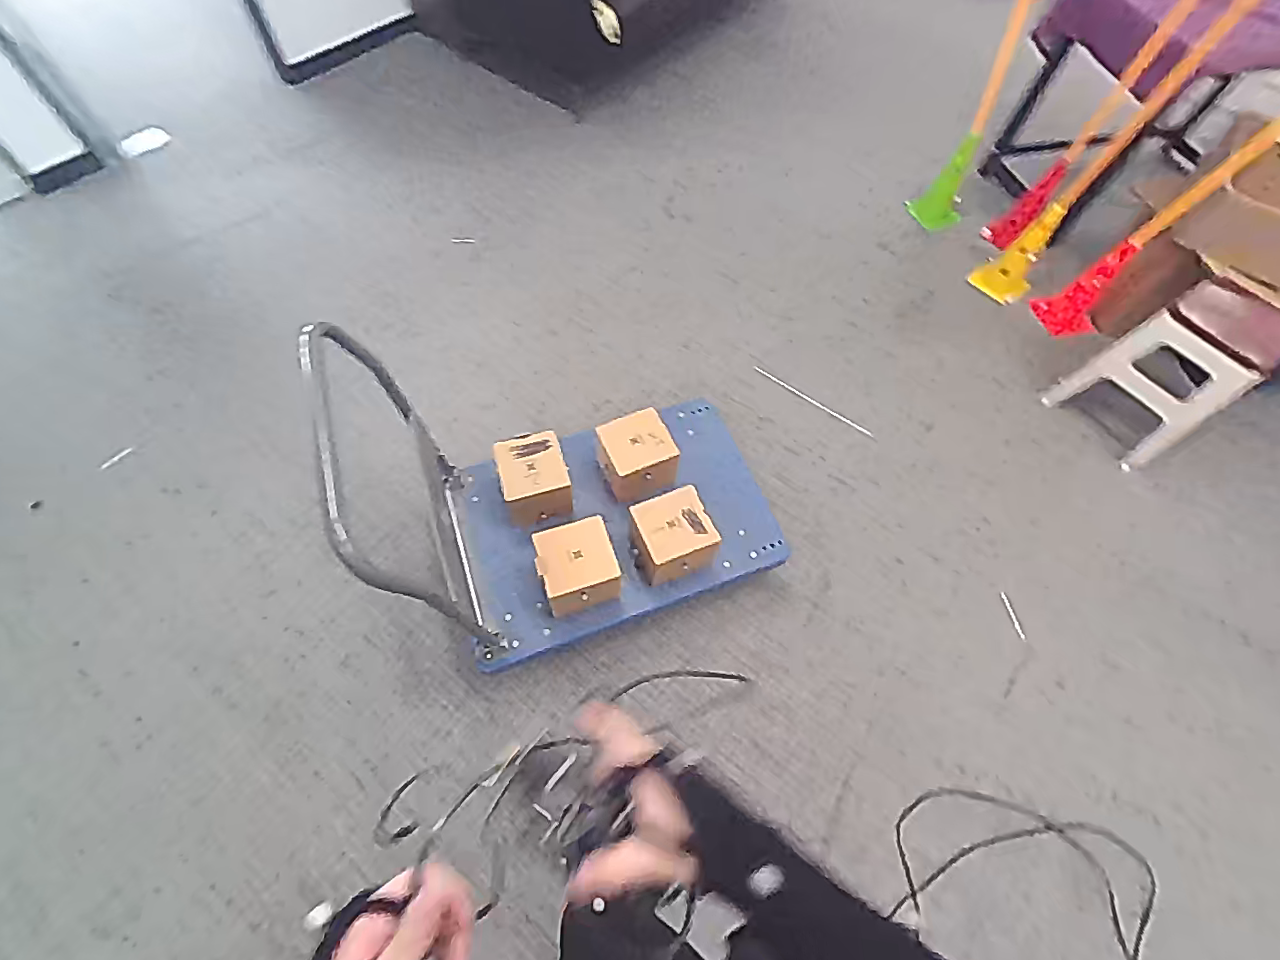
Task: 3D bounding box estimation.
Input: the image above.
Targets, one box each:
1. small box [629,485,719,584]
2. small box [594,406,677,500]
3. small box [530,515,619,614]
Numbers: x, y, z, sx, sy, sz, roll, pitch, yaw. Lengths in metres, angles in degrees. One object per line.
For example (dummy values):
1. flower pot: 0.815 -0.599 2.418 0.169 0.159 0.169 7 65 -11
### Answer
1. small box: 0.078 0.143 1.376 0.179 0.176 0.168 -20 64 -11
2. small box: -0.015 -0.068 1.486 0.179 0.176 0.168 -21 65 -13
3. small box: -0.157 0.211 1.331 0.179 0.176 0.168 -16 64 -10
